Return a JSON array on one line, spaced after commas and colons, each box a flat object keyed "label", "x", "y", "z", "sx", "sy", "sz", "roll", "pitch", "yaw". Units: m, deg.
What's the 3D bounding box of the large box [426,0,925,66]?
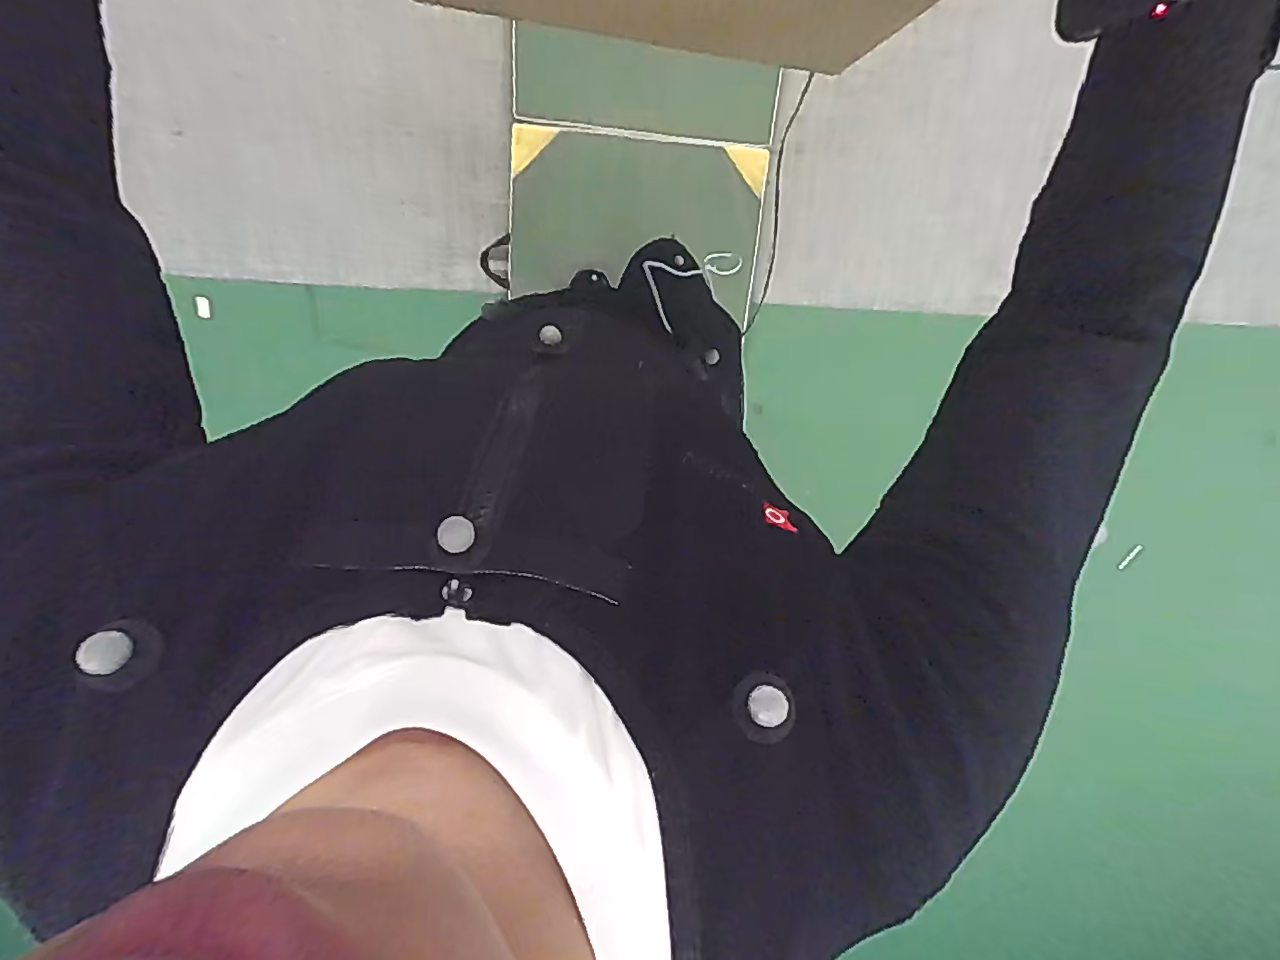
[{"label": "large box", "x": 0.018, "y": -0.486, "z": 0.306, "sx": 0.408, "sy": 0.320, "sz": 0.320, "roll": 6, "pitch": 116, "yaw": -4}]
